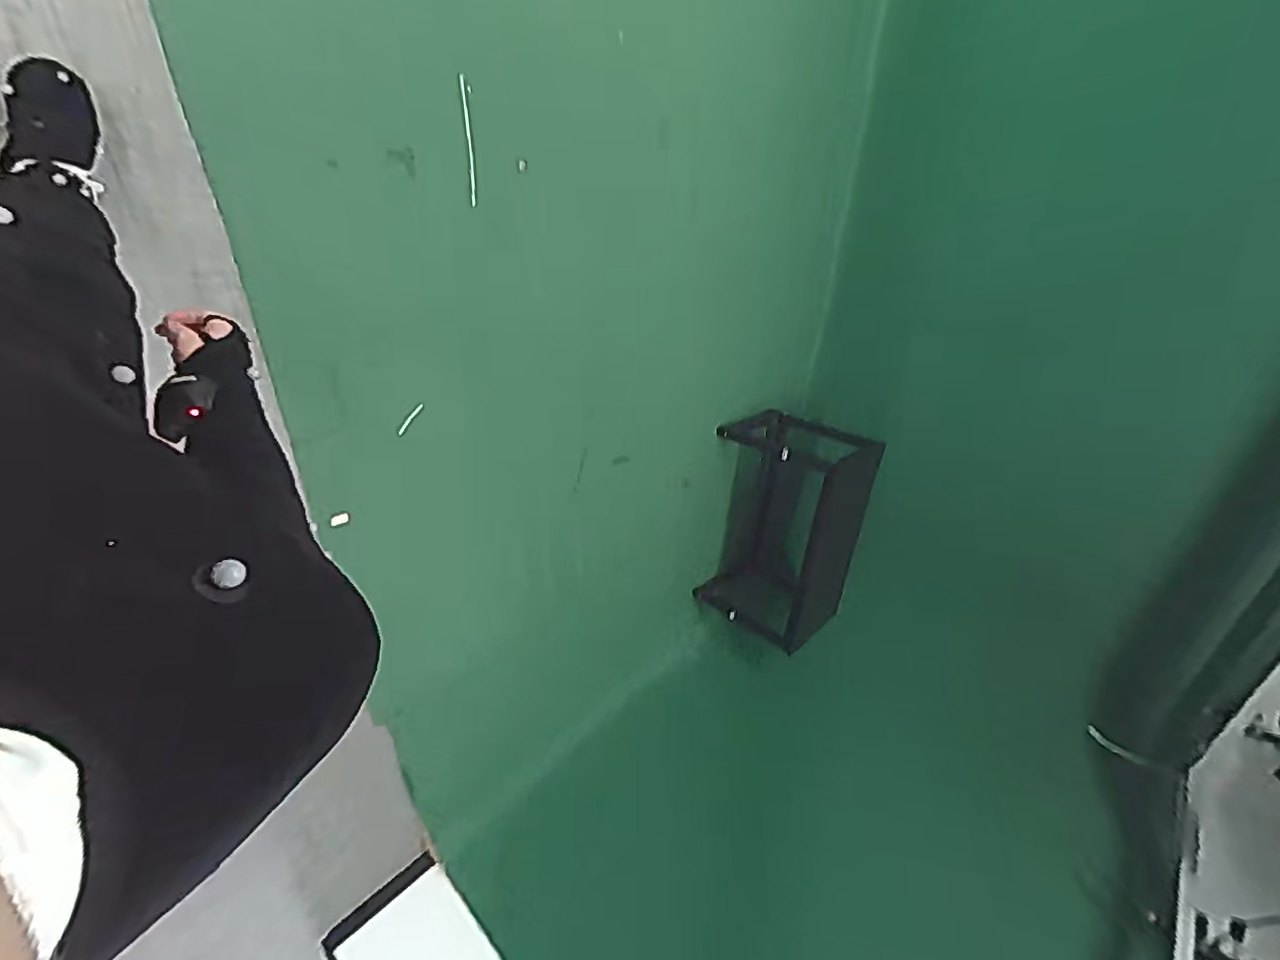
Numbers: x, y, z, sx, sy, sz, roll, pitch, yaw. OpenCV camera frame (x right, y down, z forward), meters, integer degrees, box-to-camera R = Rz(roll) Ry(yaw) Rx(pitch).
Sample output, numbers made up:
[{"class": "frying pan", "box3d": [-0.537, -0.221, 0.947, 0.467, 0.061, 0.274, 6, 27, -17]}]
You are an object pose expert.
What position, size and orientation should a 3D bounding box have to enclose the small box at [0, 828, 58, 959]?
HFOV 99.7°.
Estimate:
[{"class": "small box", "box3d": [-0.999, 0.671, 0.797, 0.168, 0.176, 0.179, -18, 124, -44]}]
